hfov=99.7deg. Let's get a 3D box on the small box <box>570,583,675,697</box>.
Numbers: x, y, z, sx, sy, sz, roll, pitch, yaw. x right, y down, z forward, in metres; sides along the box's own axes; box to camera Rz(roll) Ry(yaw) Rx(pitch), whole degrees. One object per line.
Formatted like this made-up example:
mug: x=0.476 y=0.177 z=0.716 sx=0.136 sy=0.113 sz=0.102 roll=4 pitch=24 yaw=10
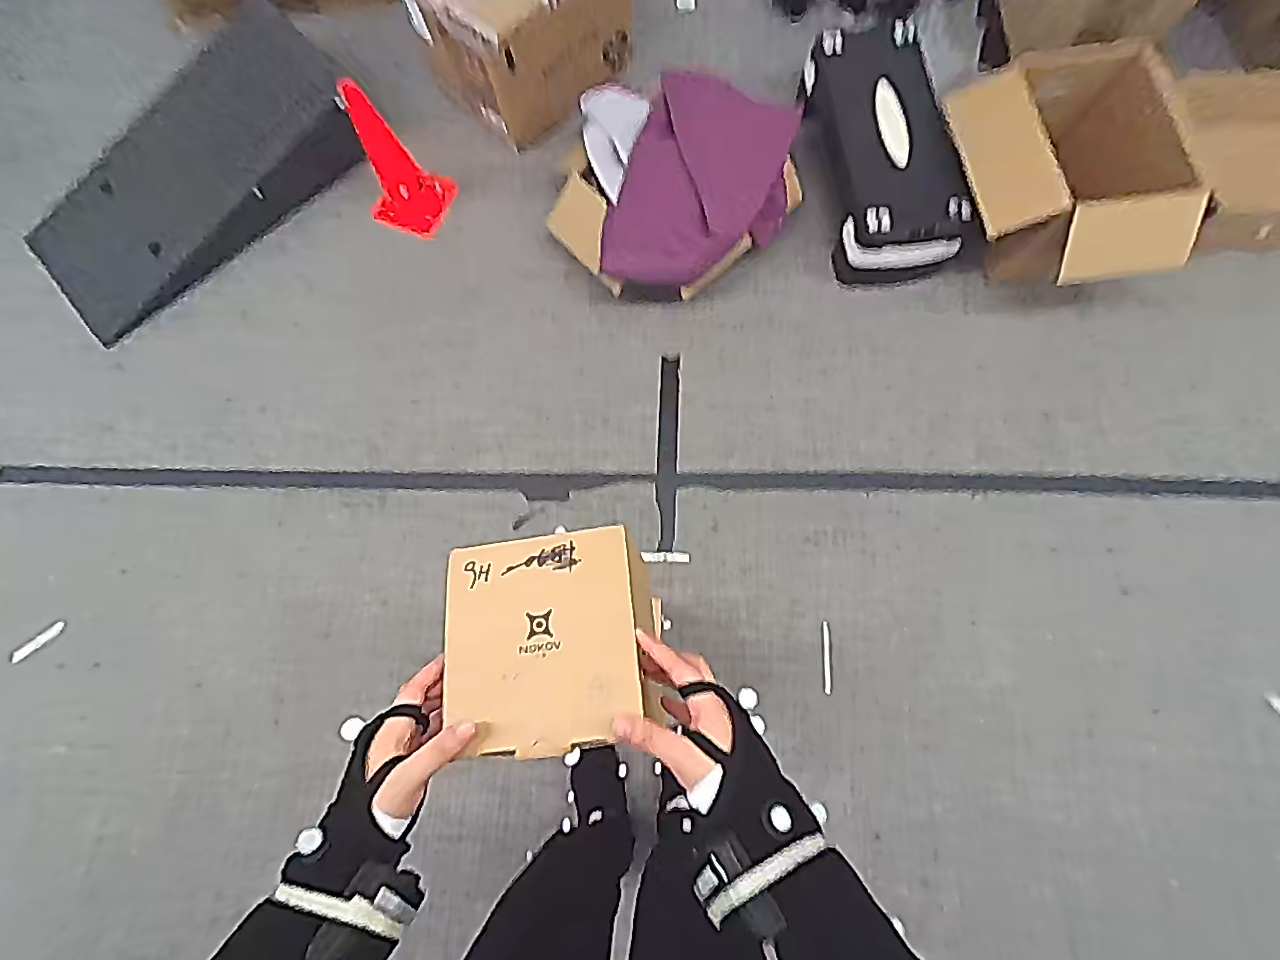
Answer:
small box: x=-0.025 y=0.277 z=0.951 sx=0.168 sy=0.176 sz=0.179 roll=0 pitch=76 yaw=2
